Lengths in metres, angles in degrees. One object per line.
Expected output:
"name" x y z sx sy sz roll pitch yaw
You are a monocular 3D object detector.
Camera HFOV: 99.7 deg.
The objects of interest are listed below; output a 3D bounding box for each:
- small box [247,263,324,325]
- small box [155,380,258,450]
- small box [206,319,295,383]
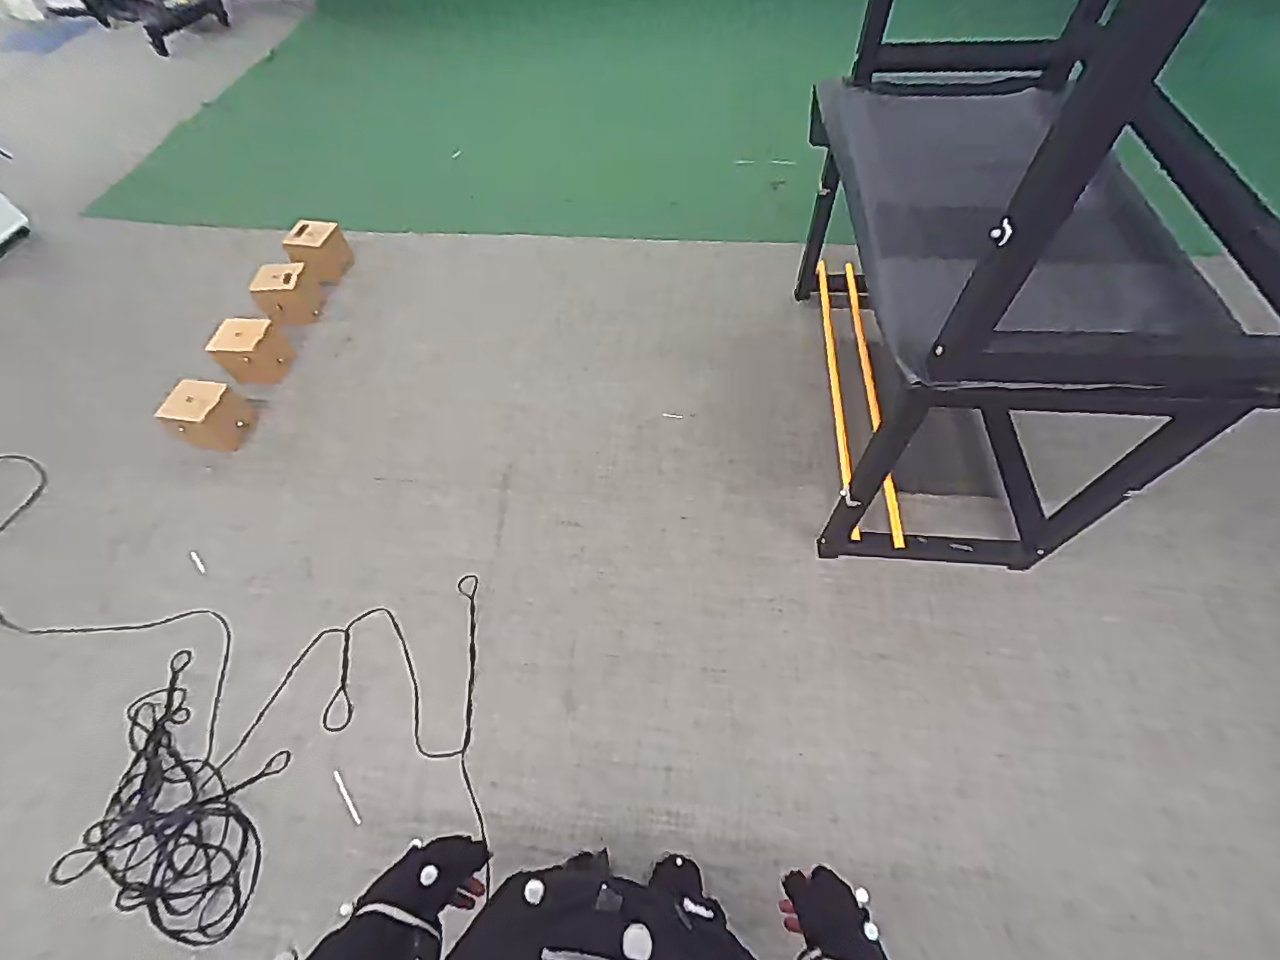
"small box" -1.410 -0.742 2.166 0.179 0.176 0.168 -3 57 1
"small box" -1.460 -0.217 1.833 0.179 0.176 0.168 7 59 7
"small box" -1.429 -0.474 1.996 0.179 0.176 0.168 1 58 2
